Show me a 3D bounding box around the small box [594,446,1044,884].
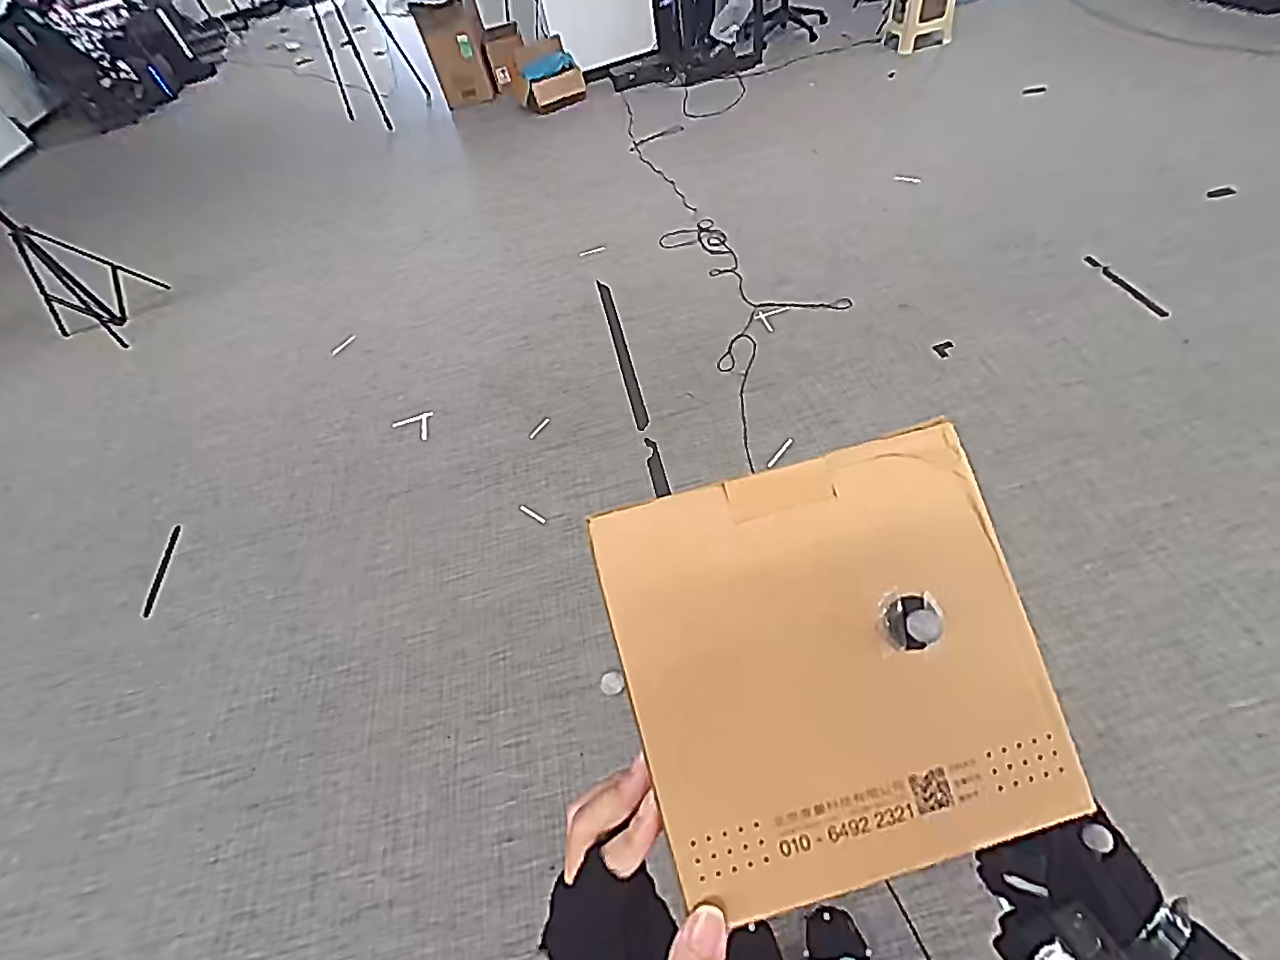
[{"bbox_3d":[0.080,0.096,0.316,0.168,0.179,0.176,-15,82,-1],"label":"small box"}]
